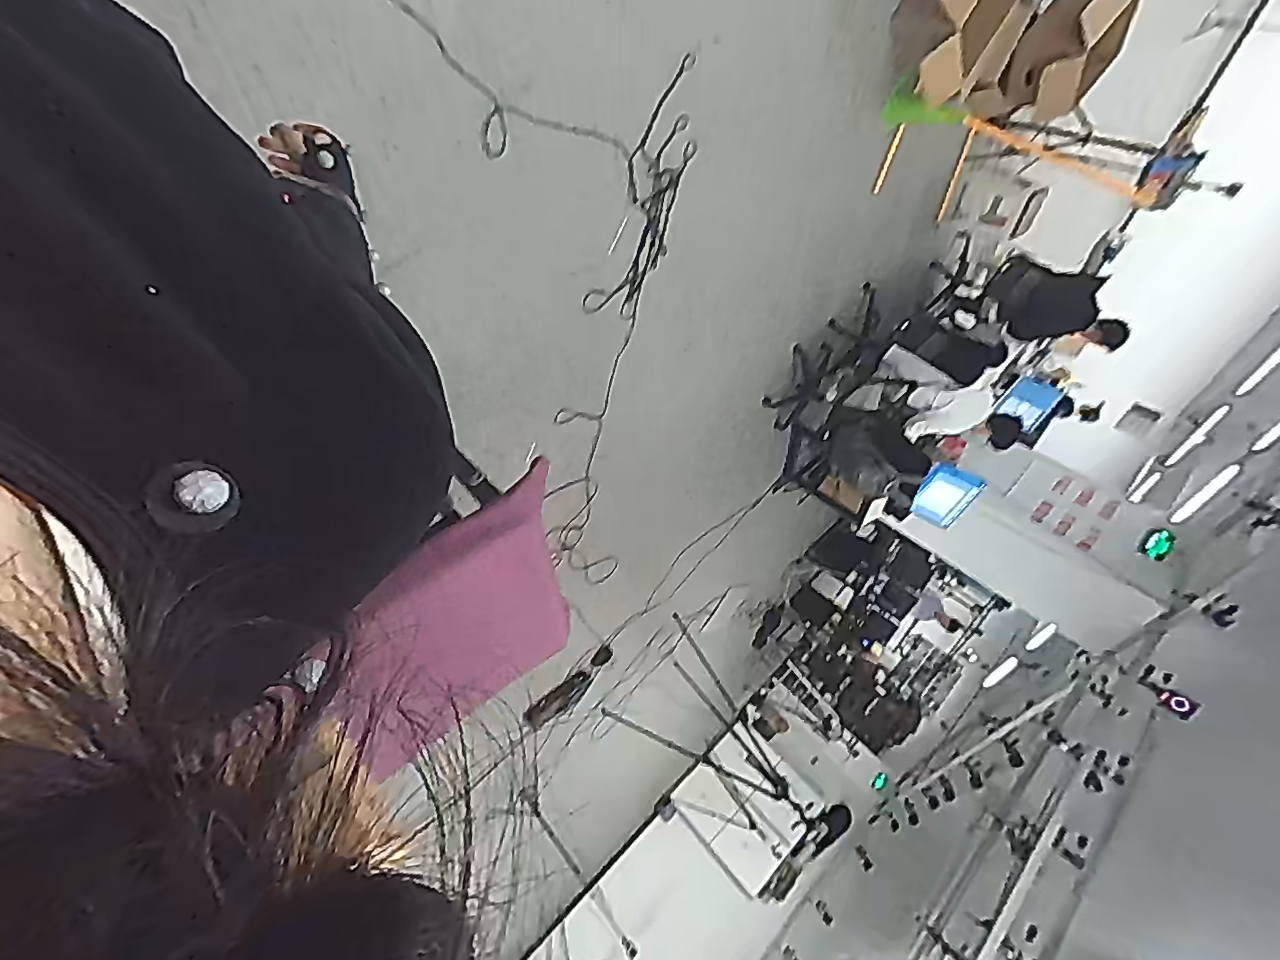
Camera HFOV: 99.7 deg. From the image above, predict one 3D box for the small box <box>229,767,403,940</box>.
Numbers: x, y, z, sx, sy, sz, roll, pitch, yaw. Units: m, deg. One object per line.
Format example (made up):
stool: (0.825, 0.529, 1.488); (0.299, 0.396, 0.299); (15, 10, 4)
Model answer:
small box: (-0.551, 0.633, 0.928); (0.179, 0.176, 0.168); (-37, 147, -24)

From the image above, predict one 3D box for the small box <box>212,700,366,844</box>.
small box: (-0.664, 0.558, 1.021); (0.179, 0.176, 0.168); (-36, 148, -25)
